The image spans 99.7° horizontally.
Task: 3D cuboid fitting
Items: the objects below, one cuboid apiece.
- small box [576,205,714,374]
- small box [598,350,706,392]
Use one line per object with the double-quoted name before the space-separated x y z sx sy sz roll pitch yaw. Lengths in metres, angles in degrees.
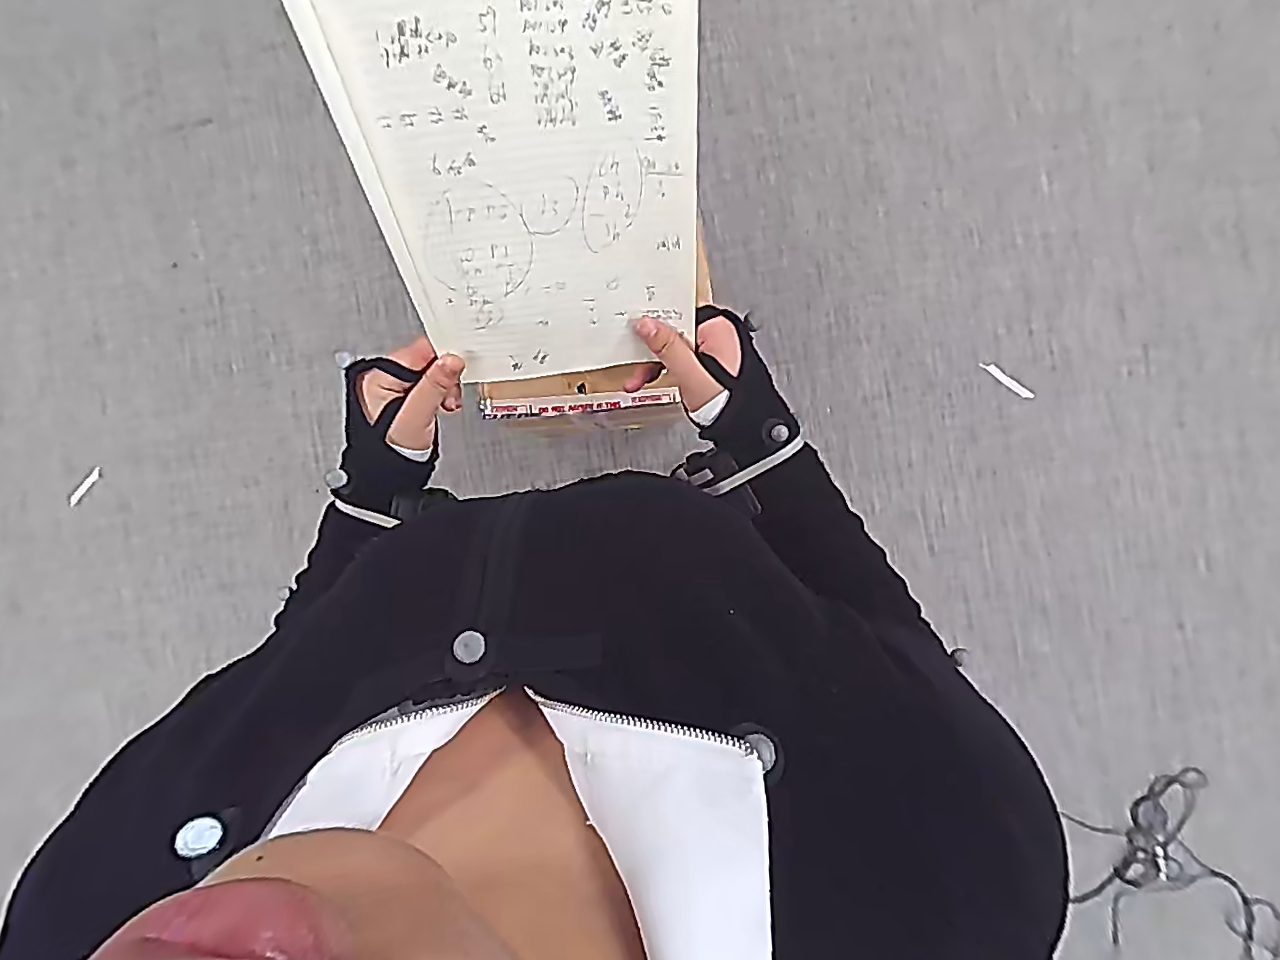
"small box" 0.004 -0.263 0.783 0.168 0.176 0.179 -8 91 0
"small box" 0.008 -0.258 0.947 0.179 0.176 0.168 -11 91 1
